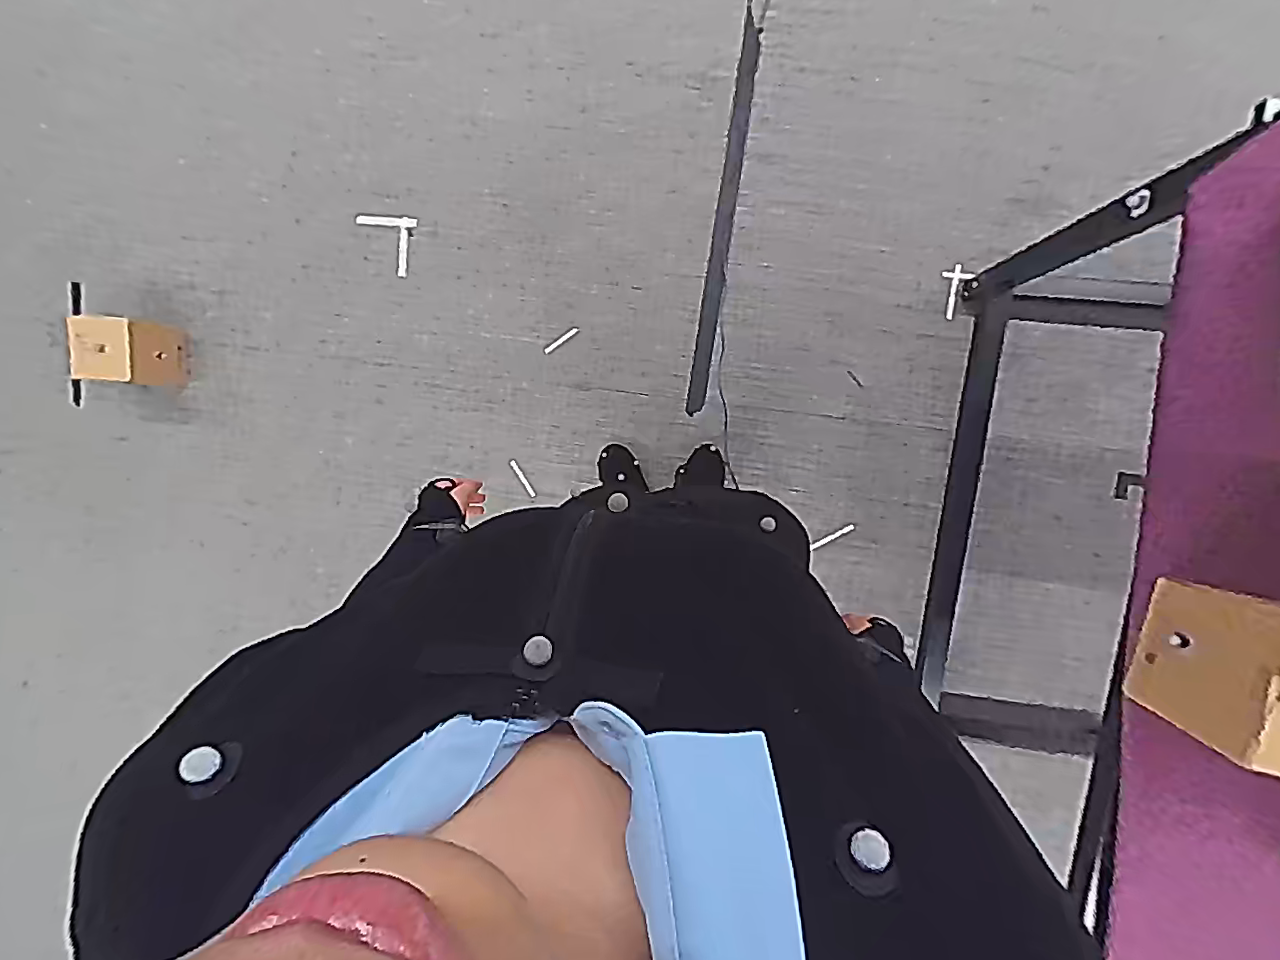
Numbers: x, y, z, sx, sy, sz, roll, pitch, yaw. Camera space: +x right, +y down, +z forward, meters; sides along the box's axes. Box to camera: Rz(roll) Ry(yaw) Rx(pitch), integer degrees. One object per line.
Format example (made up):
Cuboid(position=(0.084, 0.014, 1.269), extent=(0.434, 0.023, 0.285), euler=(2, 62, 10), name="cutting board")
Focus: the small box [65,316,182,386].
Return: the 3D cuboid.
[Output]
Cuboid(position=(-1.413, -0.351, 1.493), extent=(0.179, 0.176, 0.168), euler=(4, 96, 5), name="small box")
